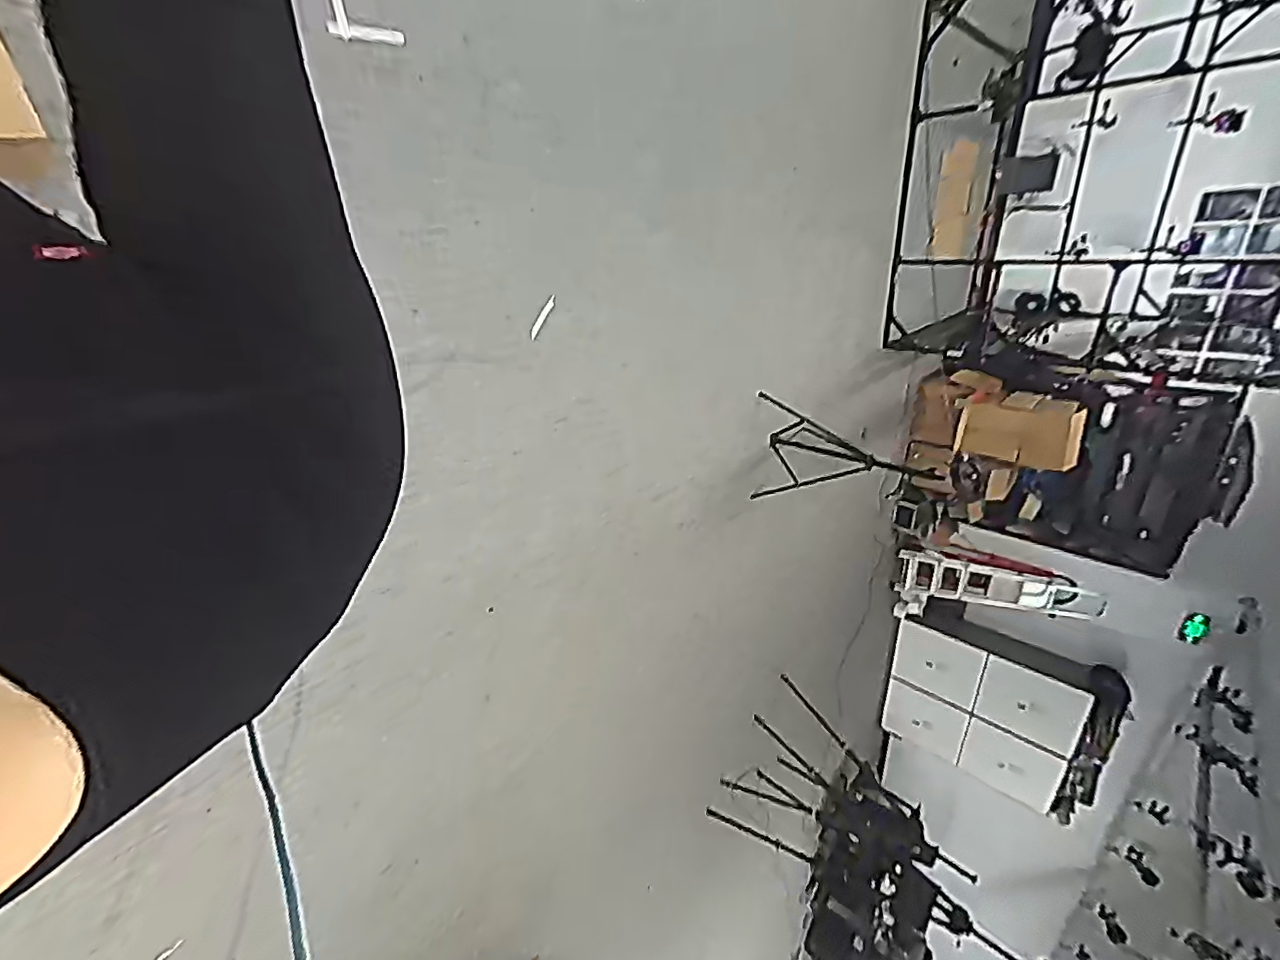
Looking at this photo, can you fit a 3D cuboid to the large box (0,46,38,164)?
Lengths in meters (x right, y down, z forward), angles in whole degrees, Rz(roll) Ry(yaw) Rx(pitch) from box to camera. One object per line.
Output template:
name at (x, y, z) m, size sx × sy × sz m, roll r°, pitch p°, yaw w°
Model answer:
large box at (-1.101, -0.583, 0.664) m, size 0.408 × 0.320 × 0.320 m, roll -30°, pitch 124°, yaw -39°
